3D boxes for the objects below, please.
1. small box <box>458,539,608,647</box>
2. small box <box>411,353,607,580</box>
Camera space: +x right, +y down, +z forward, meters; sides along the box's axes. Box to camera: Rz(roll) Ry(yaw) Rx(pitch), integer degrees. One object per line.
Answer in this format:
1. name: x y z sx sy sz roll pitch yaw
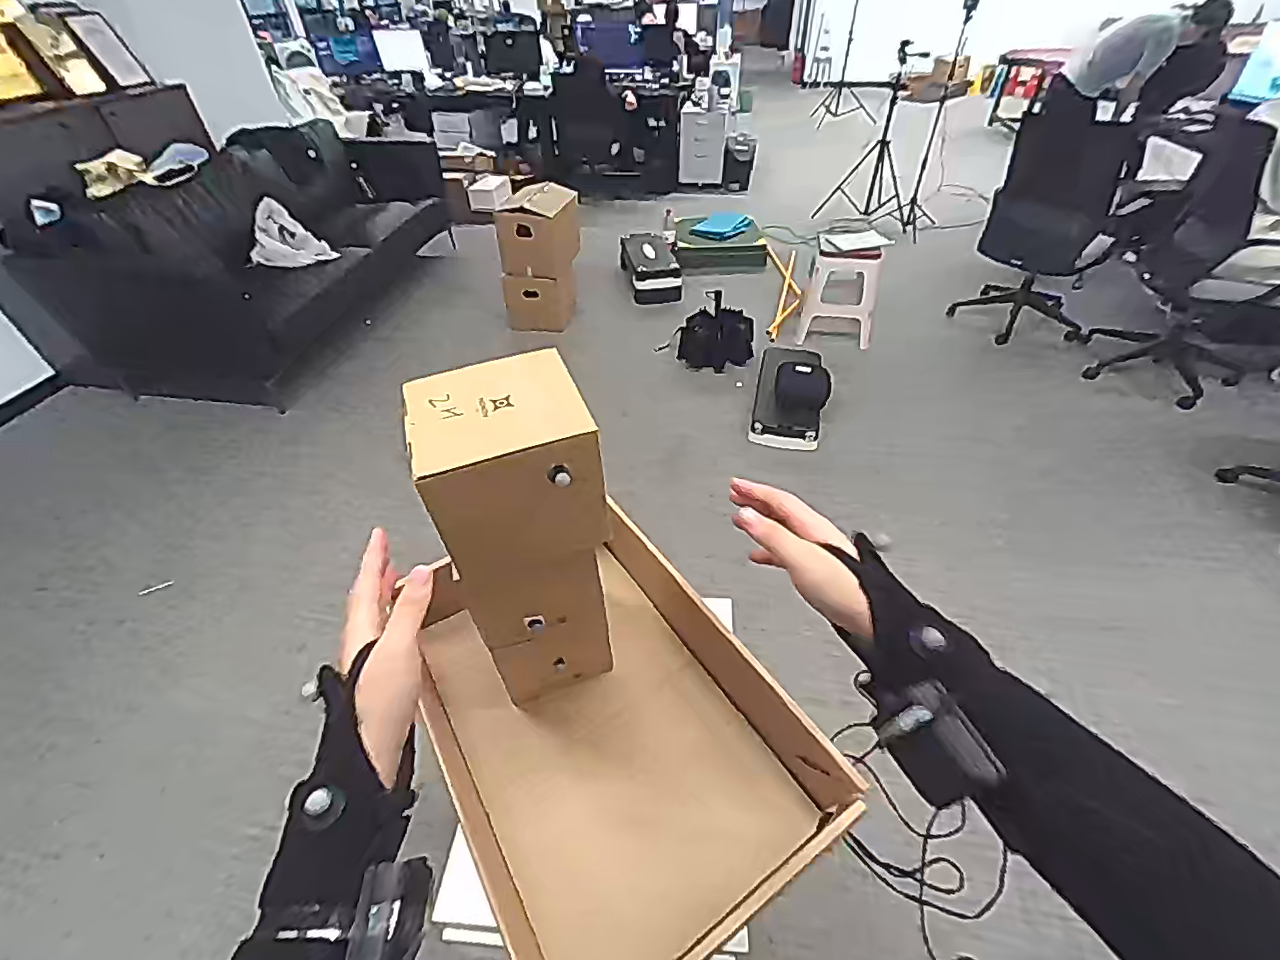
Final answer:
1. small box: -0.148 0.096 0.743 0.168 0.176 0.179 -15 46 -10
2. small box: -0.143 -0.016 0.620 0.179 0.176 0.168 -17 45 -12
